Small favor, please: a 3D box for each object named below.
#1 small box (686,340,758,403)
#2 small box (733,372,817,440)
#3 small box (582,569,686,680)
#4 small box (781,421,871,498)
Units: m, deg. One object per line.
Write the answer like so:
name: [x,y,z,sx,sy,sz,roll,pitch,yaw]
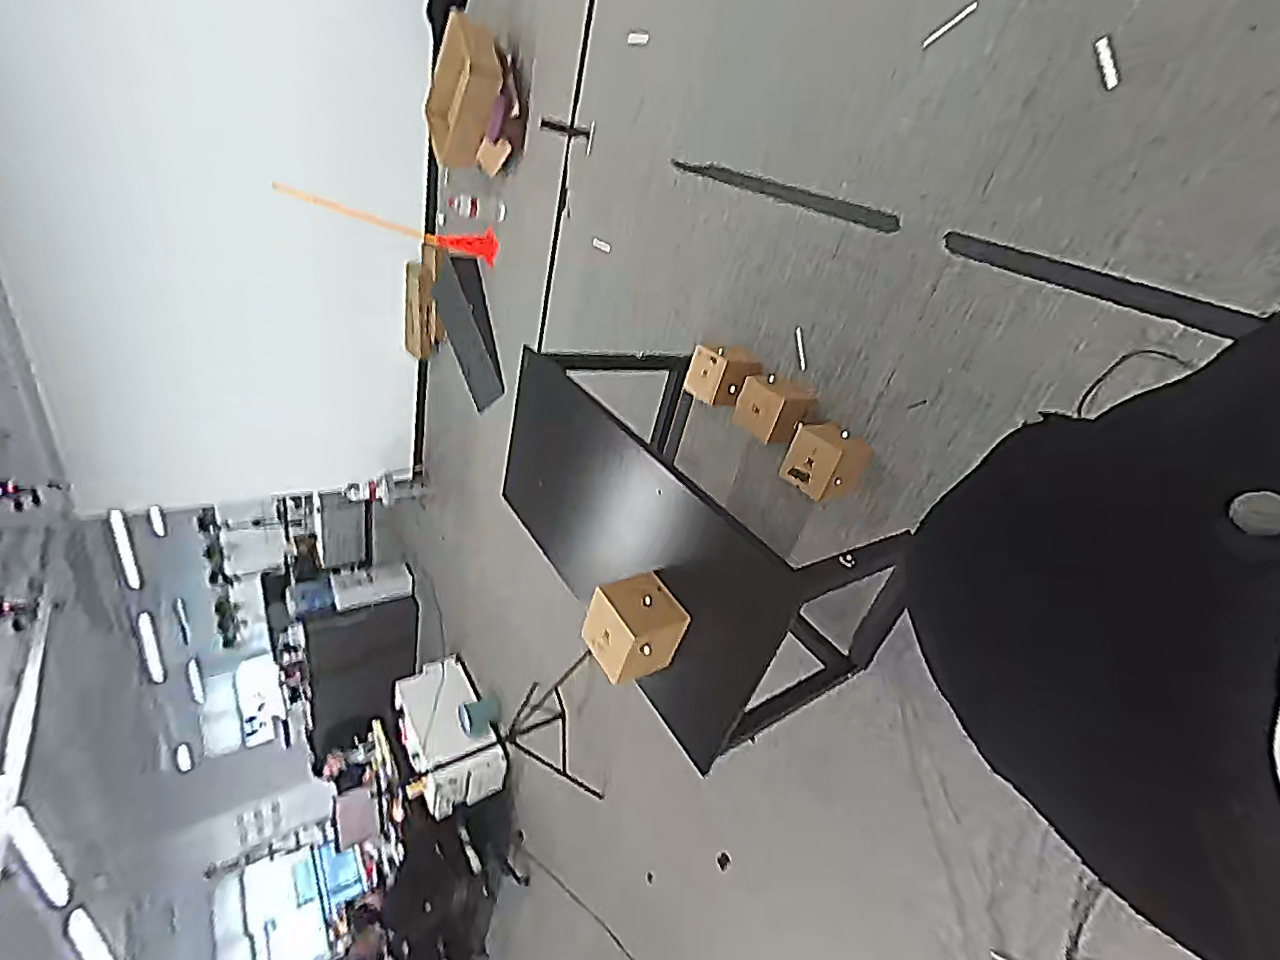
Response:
small box: [0.300,-0.395,1.957,0.168,0.176,0.179,43,129,39]
small box: [0.447,-0.249,1.795,0.179,0.176,0.168,43,130,39]
small box: [-0.014,0.339,1.301,0.168,0.176,0.179,48,132,37]
small box: [0.573,-0.068,1.662,0.168,0.176,0.179,43,128,39]
